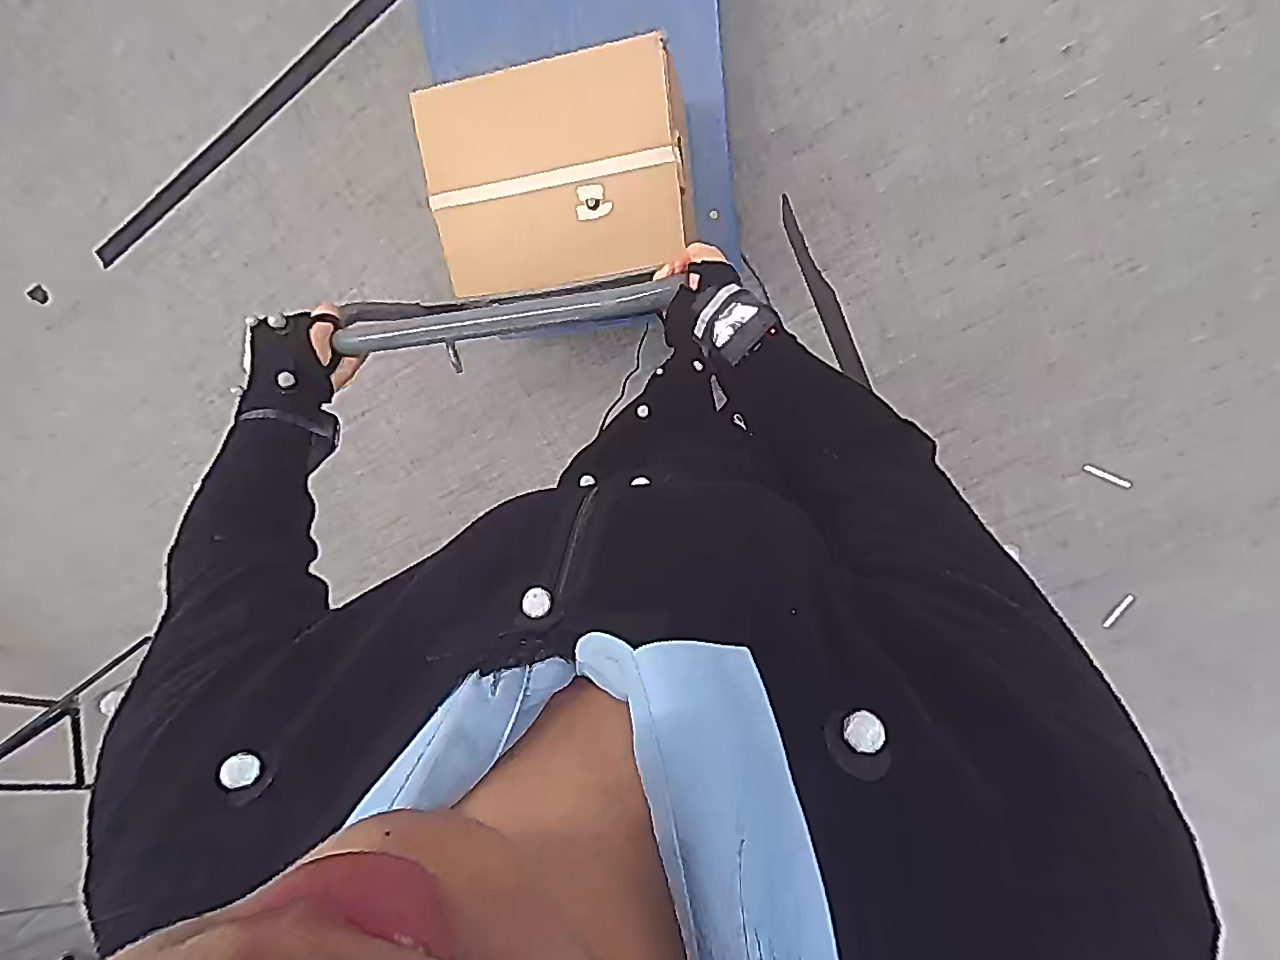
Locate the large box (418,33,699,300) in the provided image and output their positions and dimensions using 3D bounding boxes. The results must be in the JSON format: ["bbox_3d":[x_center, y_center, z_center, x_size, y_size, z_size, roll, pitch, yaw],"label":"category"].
[{"bbox_3d":[-0.114,-0.524,0.995,0.408,0.320,0.320,-5,109,11],"label":"large box"}]
